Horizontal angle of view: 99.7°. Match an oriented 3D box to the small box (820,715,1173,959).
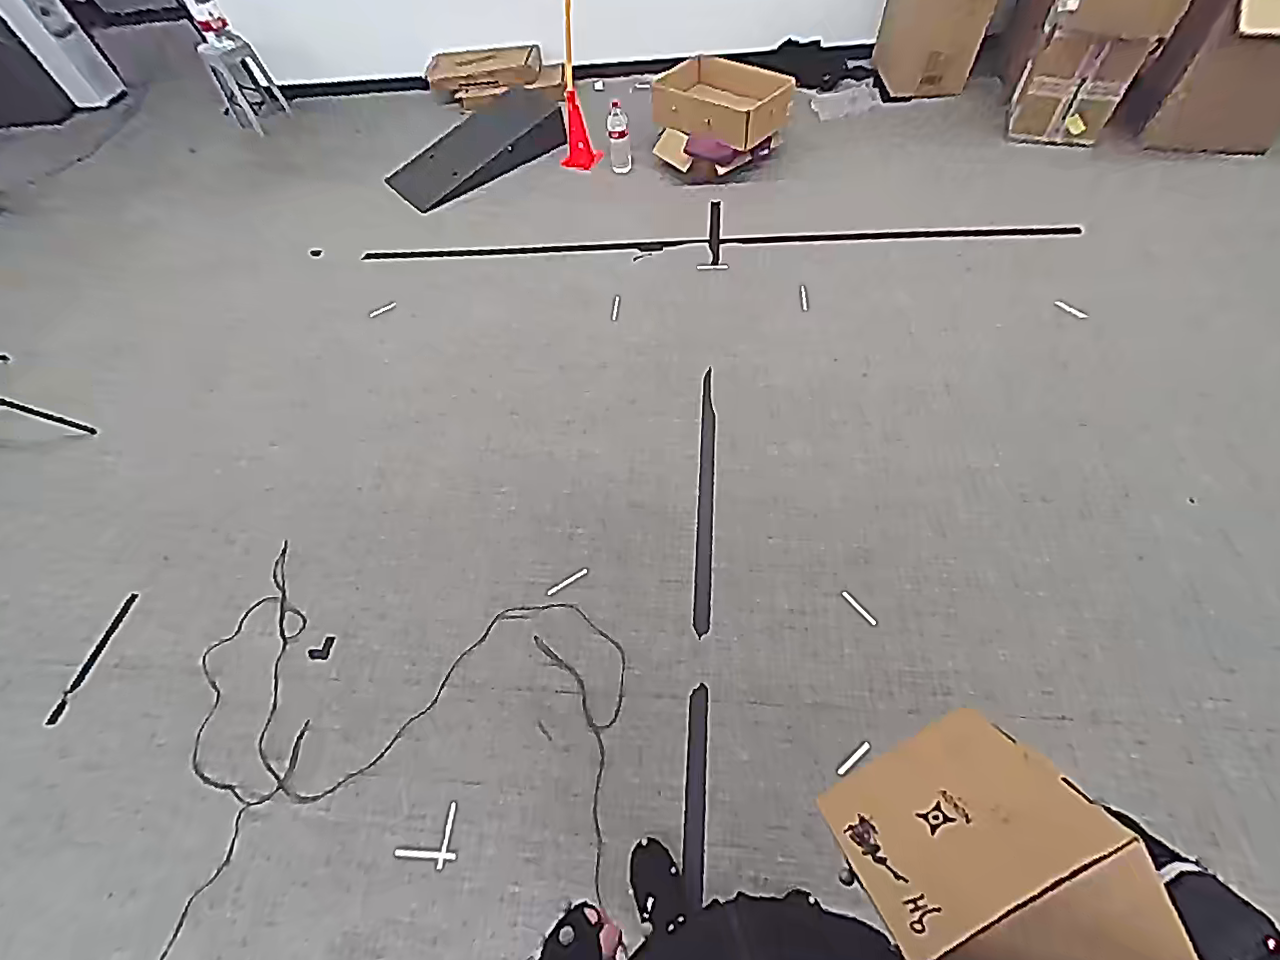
[{"bbox_3d":[0.292,0.349,0.459,0.179,0.168,0.176,-30,97,-1],"label":"small box"}]
